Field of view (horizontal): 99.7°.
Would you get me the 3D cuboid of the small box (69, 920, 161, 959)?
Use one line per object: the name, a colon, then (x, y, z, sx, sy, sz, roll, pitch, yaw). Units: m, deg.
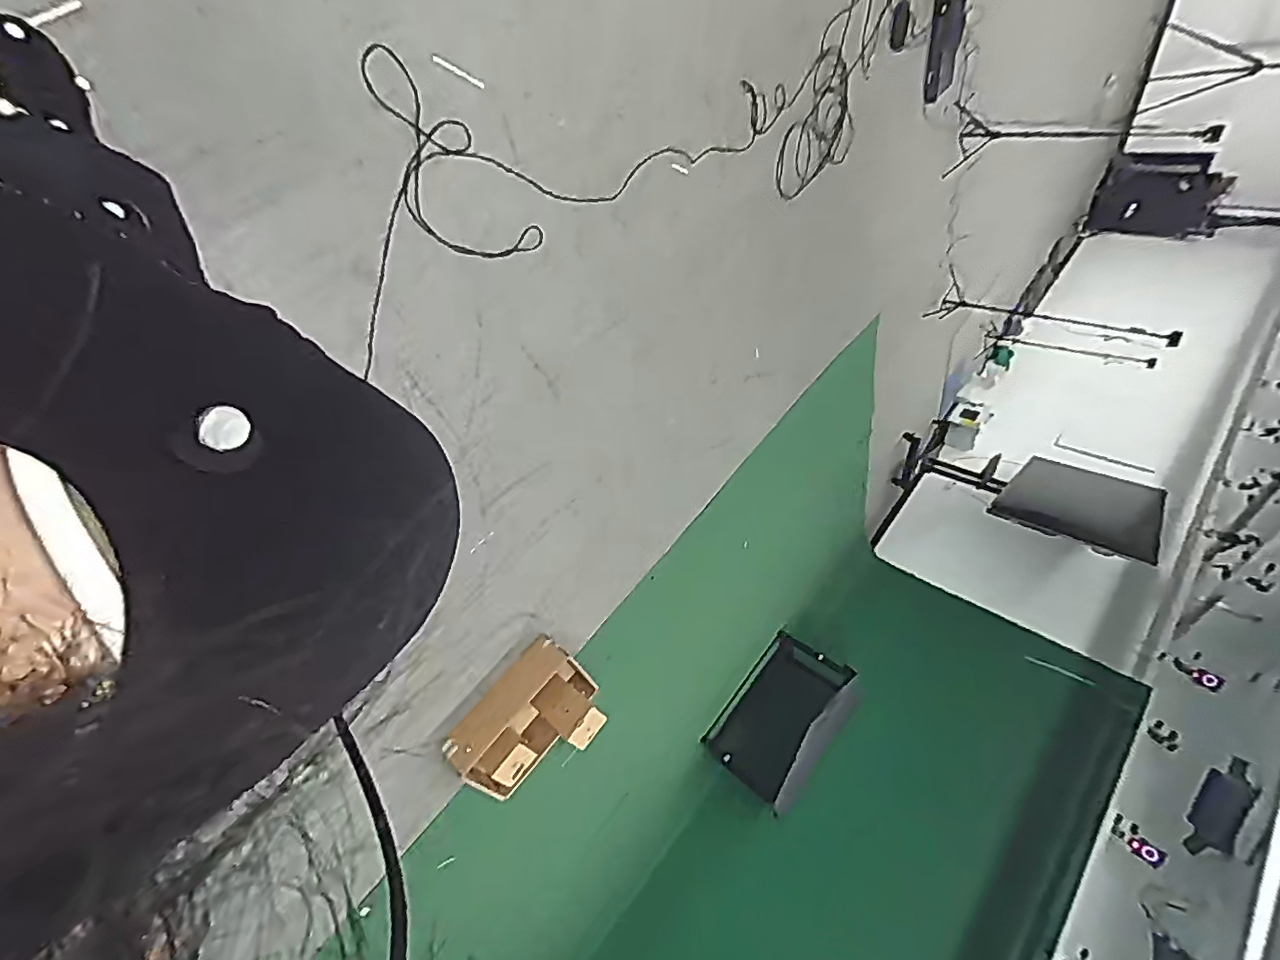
small box: (-1.498, 1.403, 1.524, 0.179, 0.176, 0.168, -42, 140, -25)

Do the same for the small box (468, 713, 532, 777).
small box: (-0.607, 1.146, 2.342, 0.168, 0.176, 0.179, -47, 139, -20)

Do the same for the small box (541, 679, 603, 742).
small box: (-0.298, 0.993, 2.338, 0.168, 0.176, 0.179, -48, 140, -19)
